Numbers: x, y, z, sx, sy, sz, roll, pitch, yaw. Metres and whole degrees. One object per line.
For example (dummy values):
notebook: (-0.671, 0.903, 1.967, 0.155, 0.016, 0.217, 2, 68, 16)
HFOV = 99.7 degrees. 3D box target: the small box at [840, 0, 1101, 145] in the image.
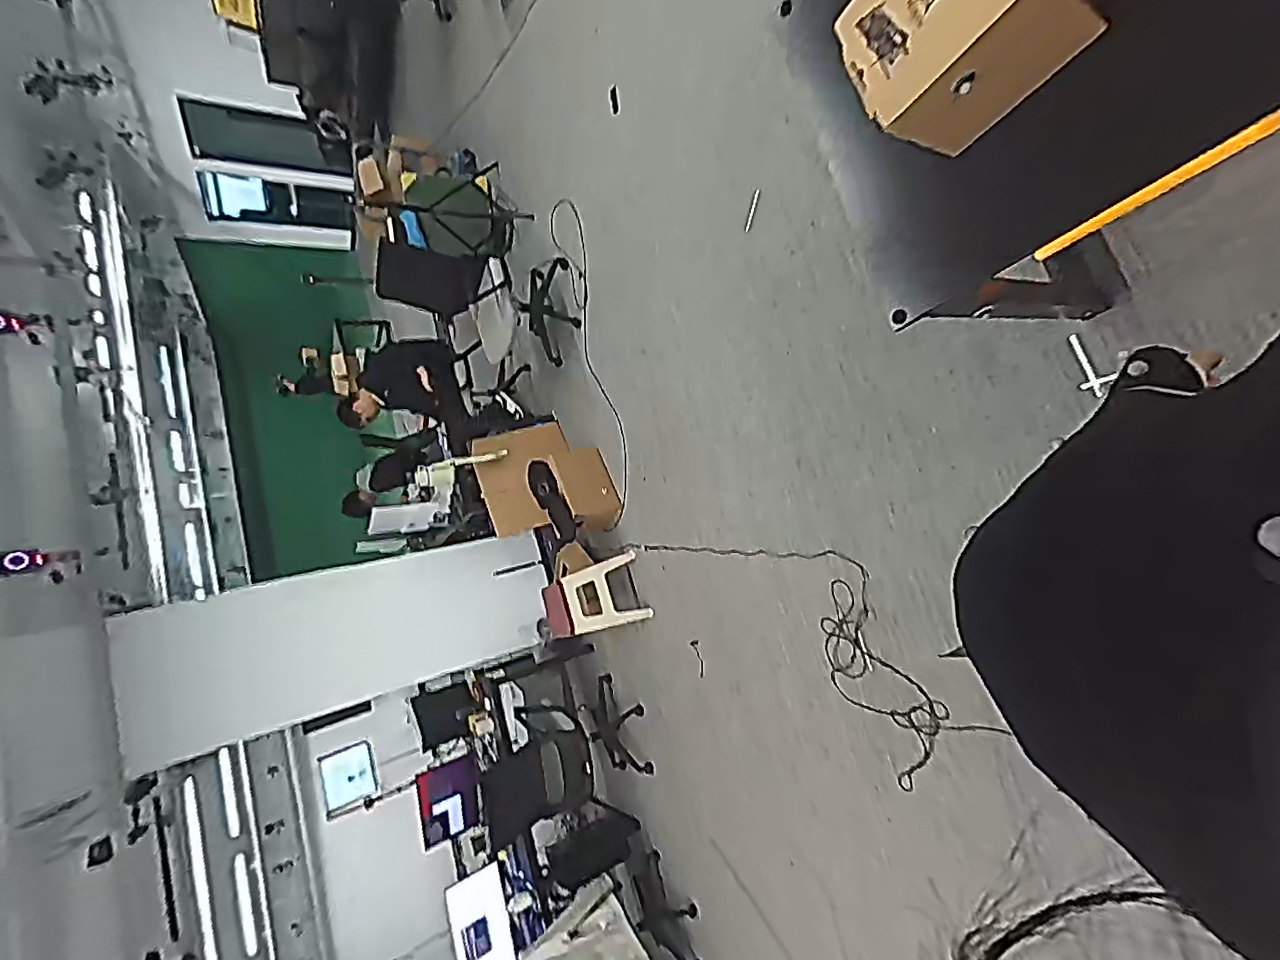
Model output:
small box: (0.378, -0.533, 0.631, 0.179, 0.176, 0.168, -34, 70, 55)
